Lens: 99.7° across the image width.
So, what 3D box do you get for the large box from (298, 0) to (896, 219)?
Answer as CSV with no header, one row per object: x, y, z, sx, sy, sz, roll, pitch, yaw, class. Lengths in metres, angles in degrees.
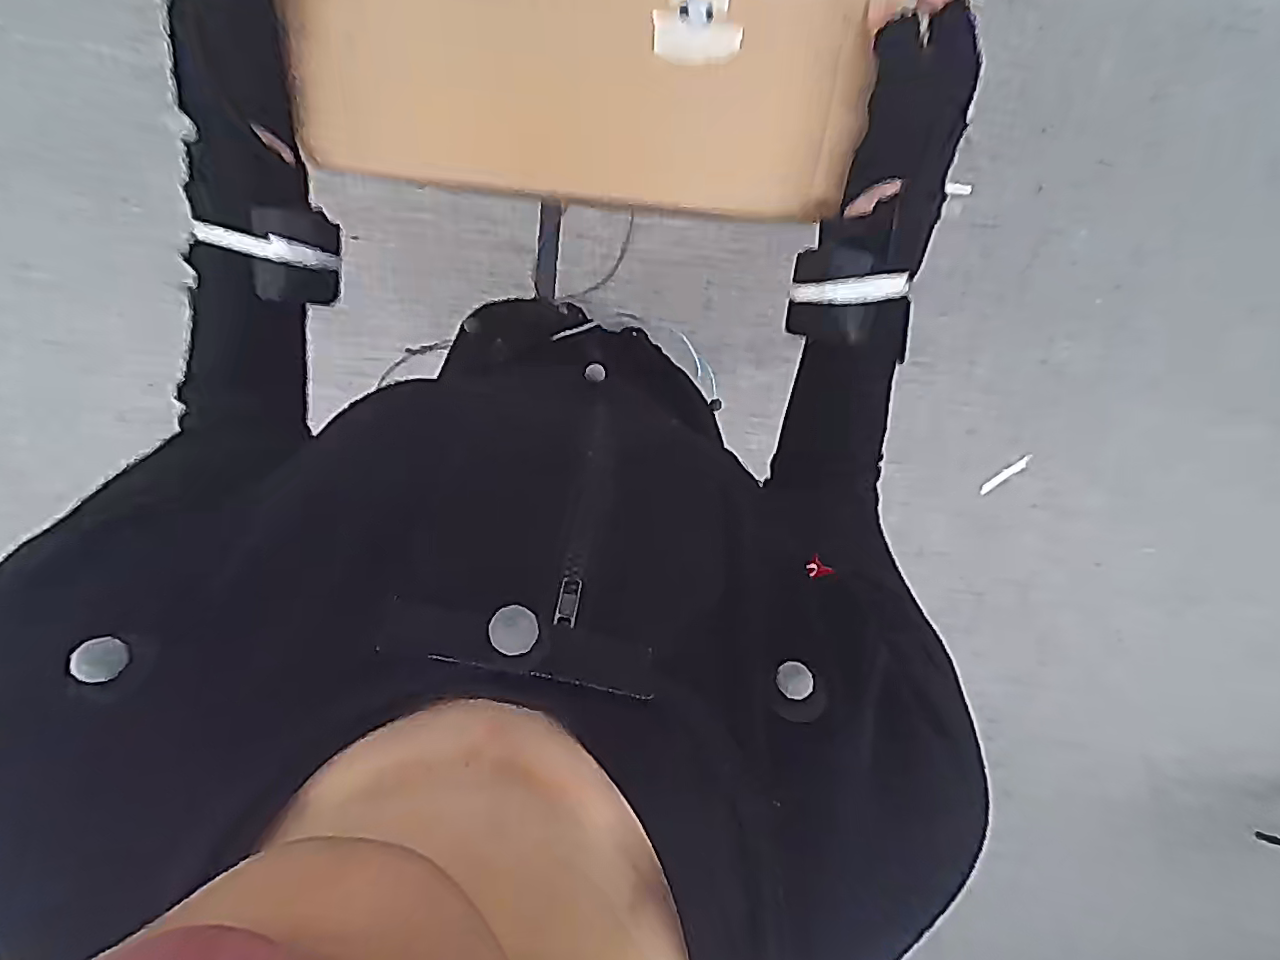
-0.028,-0.420,0.477,0.408,0.320,0.320,4,115,-5,large box
